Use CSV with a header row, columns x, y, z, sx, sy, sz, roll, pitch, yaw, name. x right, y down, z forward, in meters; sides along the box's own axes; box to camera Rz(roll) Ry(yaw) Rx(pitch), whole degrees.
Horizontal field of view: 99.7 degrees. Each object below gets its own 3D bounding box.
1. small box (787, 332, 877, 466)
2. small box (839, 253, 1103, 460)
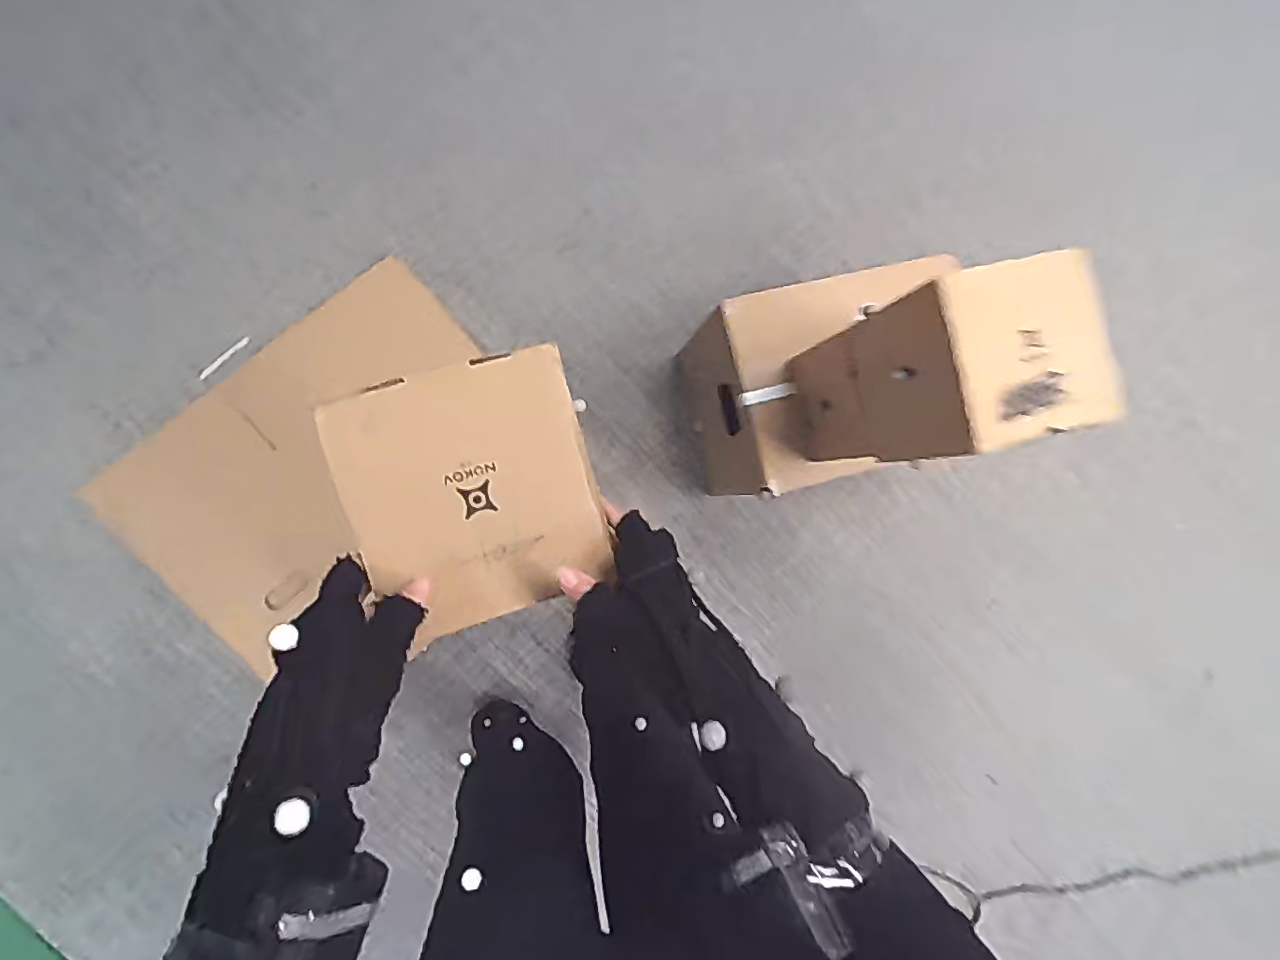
x,y,z,sx,sy,sz,roll,pitch,yaw,name
0.332,-0.127,0.775,0.179,0.176,0.168,-20,89,-10,small box
0.354,-0.123,0.610,0.168,0.176,0.179,-14,89,-9,small box
